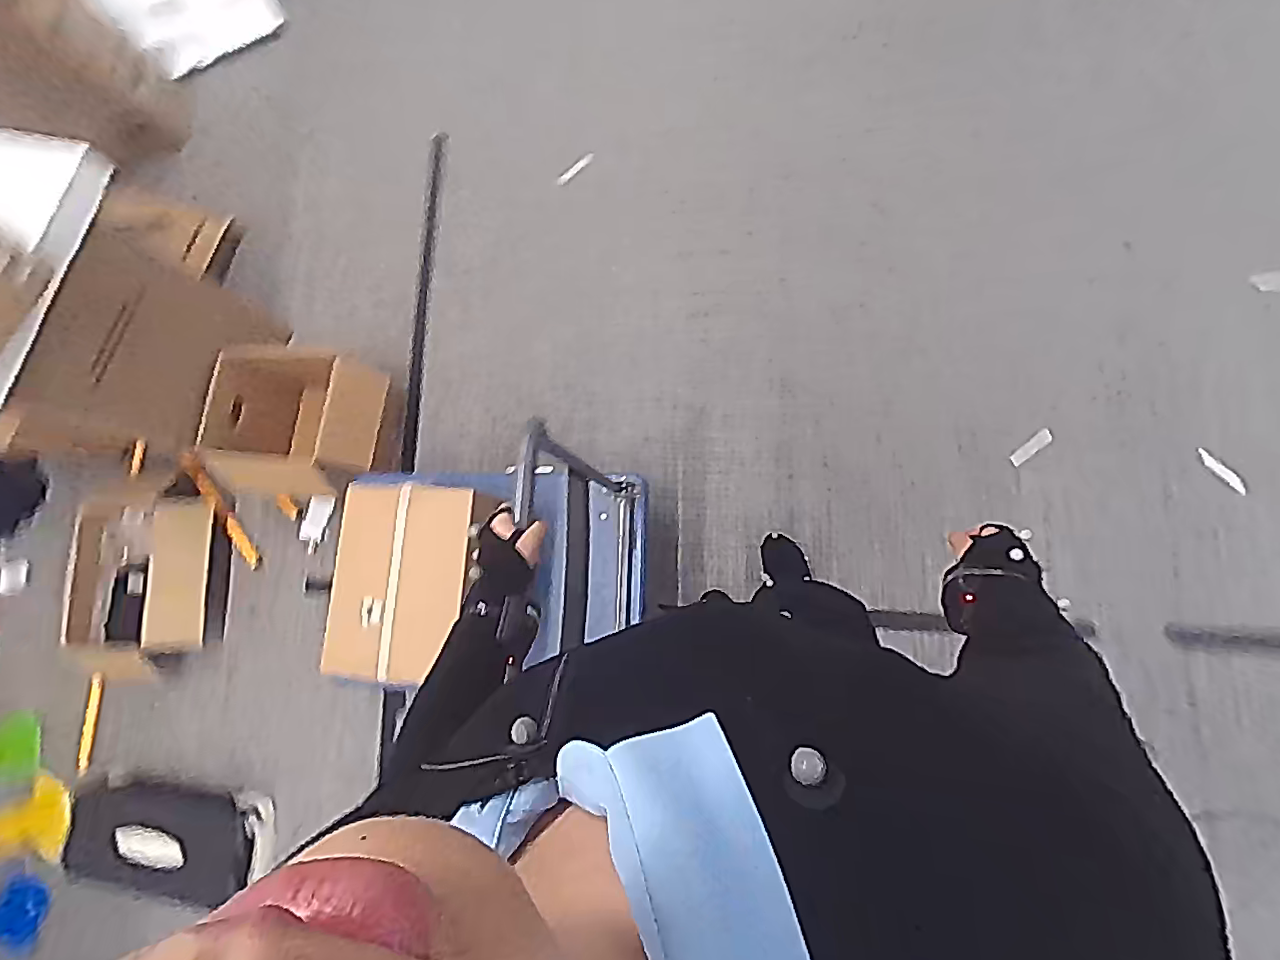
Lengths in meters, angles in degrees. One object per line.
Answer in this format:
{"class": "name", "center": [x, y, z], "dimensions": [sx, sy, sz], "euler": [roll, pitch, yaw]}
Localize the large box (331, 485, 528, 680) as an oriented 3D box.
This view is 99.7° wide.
{"class": "large box", "center": [-0.476, 0.228, 1.294], "dimensions": [0.320, 0.320, 0.408], "euler": [1, 82, 13]}
